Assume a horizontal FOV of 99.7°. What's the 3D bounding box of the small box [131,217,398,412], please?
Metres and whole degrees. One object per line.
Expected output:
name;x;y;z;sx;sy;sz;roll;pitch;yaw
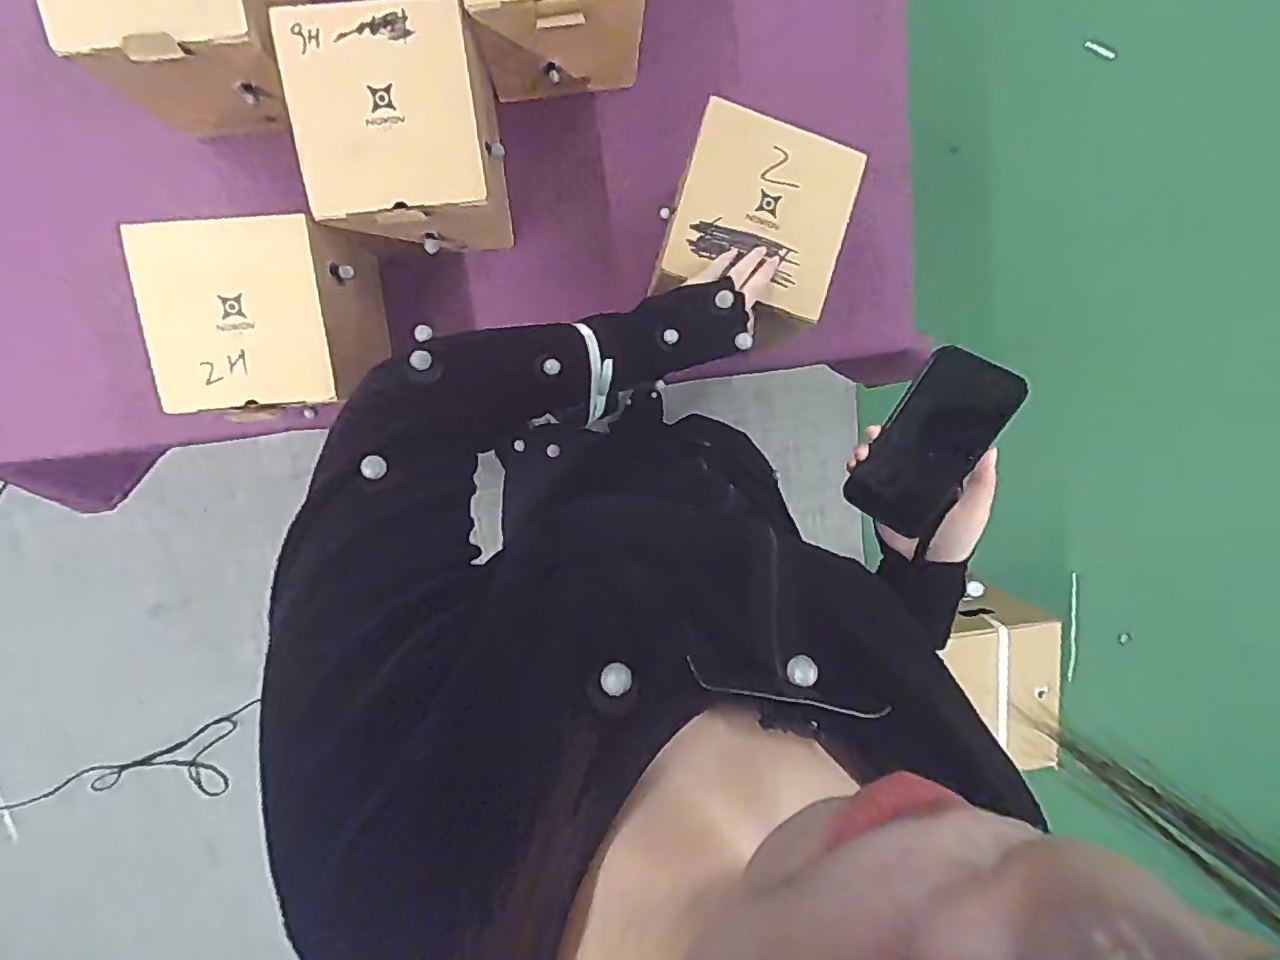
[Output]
small box;-0.387;-0.169;0.594;0.168;0.176;0.179;-5;100;-3

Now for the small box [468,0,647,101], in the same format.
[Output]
small box;-0.091;-0.531;0.551;0.168;0.176;0.179;-10;102;-2

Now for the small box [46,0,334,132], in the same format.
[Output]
small box;-0.436;-0.473;0.537;0.168;0.176;0.179;-8;101;-4
